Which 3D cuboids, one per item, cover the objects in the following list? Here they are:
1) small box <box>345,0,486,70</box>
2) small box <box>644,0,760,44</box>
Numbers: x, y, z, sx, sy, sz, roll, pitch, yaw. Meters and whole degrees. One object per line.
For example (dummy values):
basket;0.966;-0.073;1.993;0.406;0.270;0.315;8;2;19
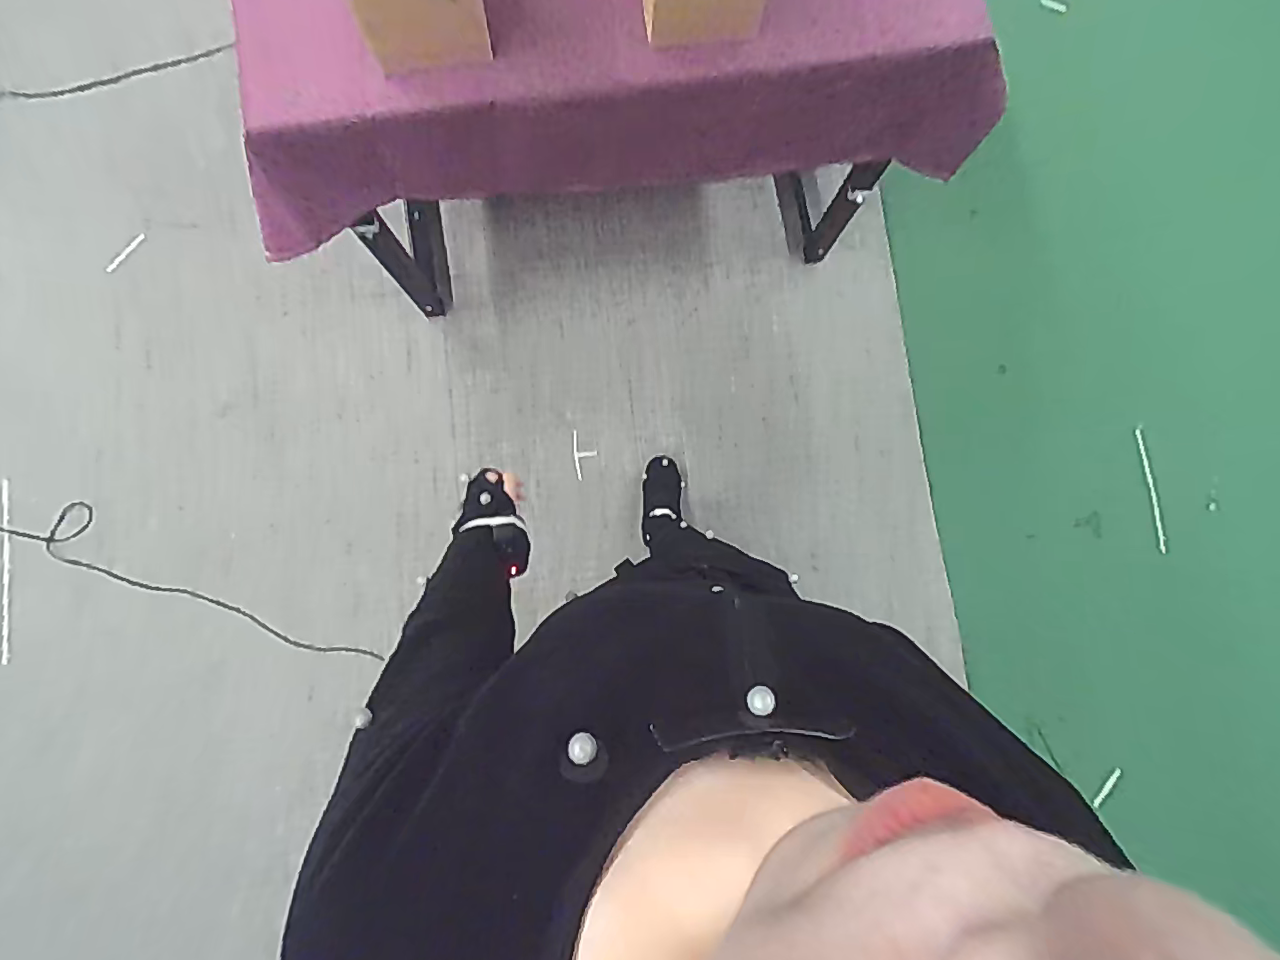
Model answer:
small box;-0.329;-0.736;0.776;0.179;0.176;0.168;-10;83;-4
small box;0.091;-0.791;0.800;0.179;0.176;0.168;-7;84;-4
